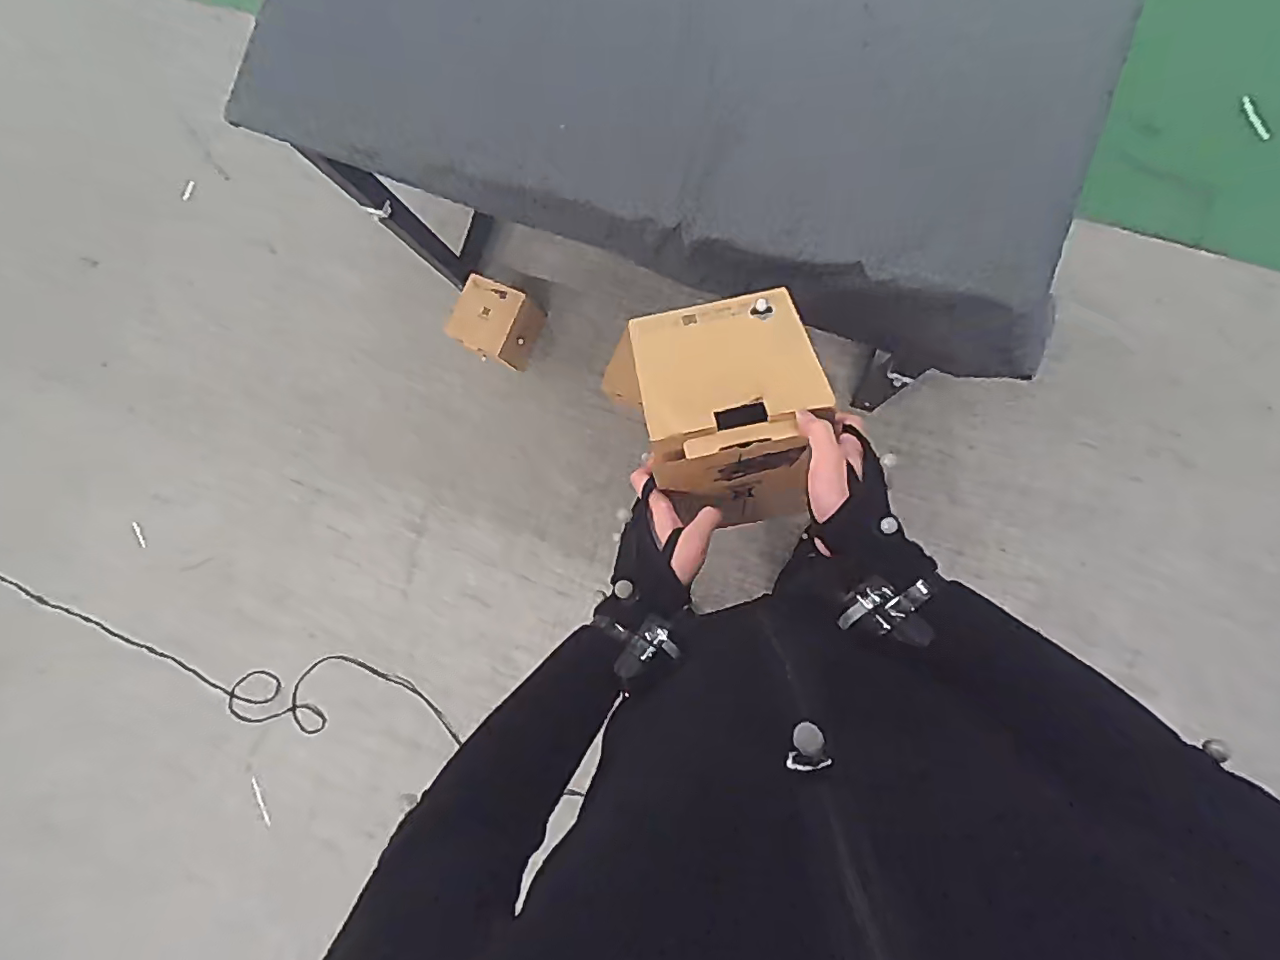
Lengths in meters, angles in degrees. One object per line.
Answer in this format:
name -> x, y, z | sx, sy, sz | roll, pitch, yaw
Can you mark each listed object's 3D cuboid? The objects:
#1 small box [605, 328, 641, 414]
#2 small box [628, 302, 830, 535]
small box -> 0.031, -0.258, 1.388 | 0.168, 0.176, 0.179 | 22, 88, 9
small box -> 0.087, -0.067, 0.575 | 0.168, 0.179, 0.176 | -11, 54, 4
